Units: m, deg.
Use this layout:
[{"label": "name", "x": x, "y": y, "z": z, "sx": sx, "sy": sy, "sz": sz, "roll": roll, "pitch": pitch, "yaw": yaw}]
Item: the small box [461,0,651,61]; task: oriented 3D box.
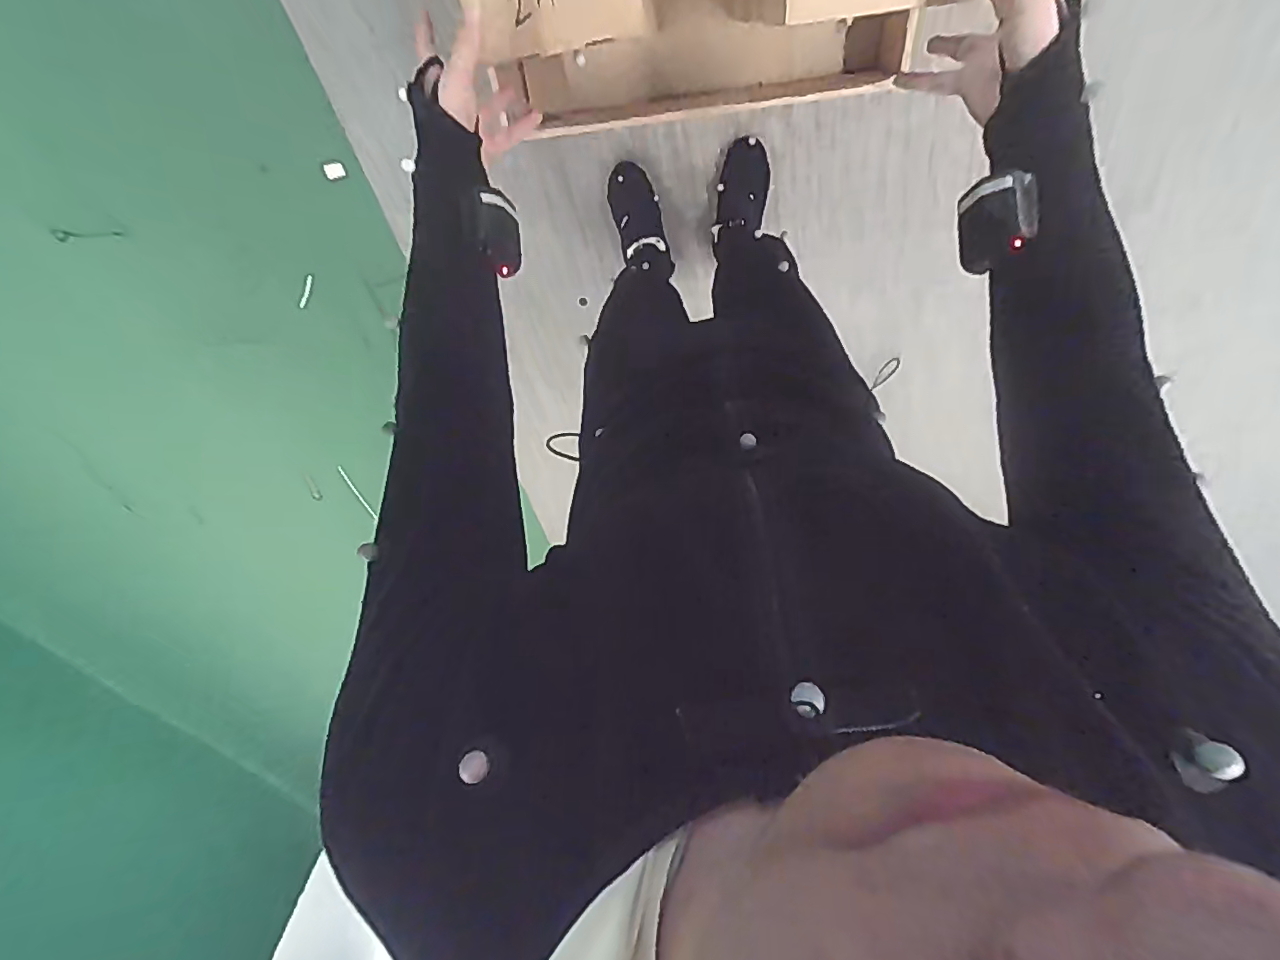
[{"label": "small box", "x": -0.084, "y": -0.528, "z": 0.521, "sx": 0.168, "sy": 0.176, "sz": 0.179, "roll": -4, "pitch": 130, "yaw": 10}]

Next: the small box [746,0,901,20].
[{"label": "small box", "x": 0.208, "y": -0.640, "z": 0.607, "sx": 0.168, "sy": 0.176, "sz": 0.179, "roll": -2, "pitch": 128, "yaw": 6}]
